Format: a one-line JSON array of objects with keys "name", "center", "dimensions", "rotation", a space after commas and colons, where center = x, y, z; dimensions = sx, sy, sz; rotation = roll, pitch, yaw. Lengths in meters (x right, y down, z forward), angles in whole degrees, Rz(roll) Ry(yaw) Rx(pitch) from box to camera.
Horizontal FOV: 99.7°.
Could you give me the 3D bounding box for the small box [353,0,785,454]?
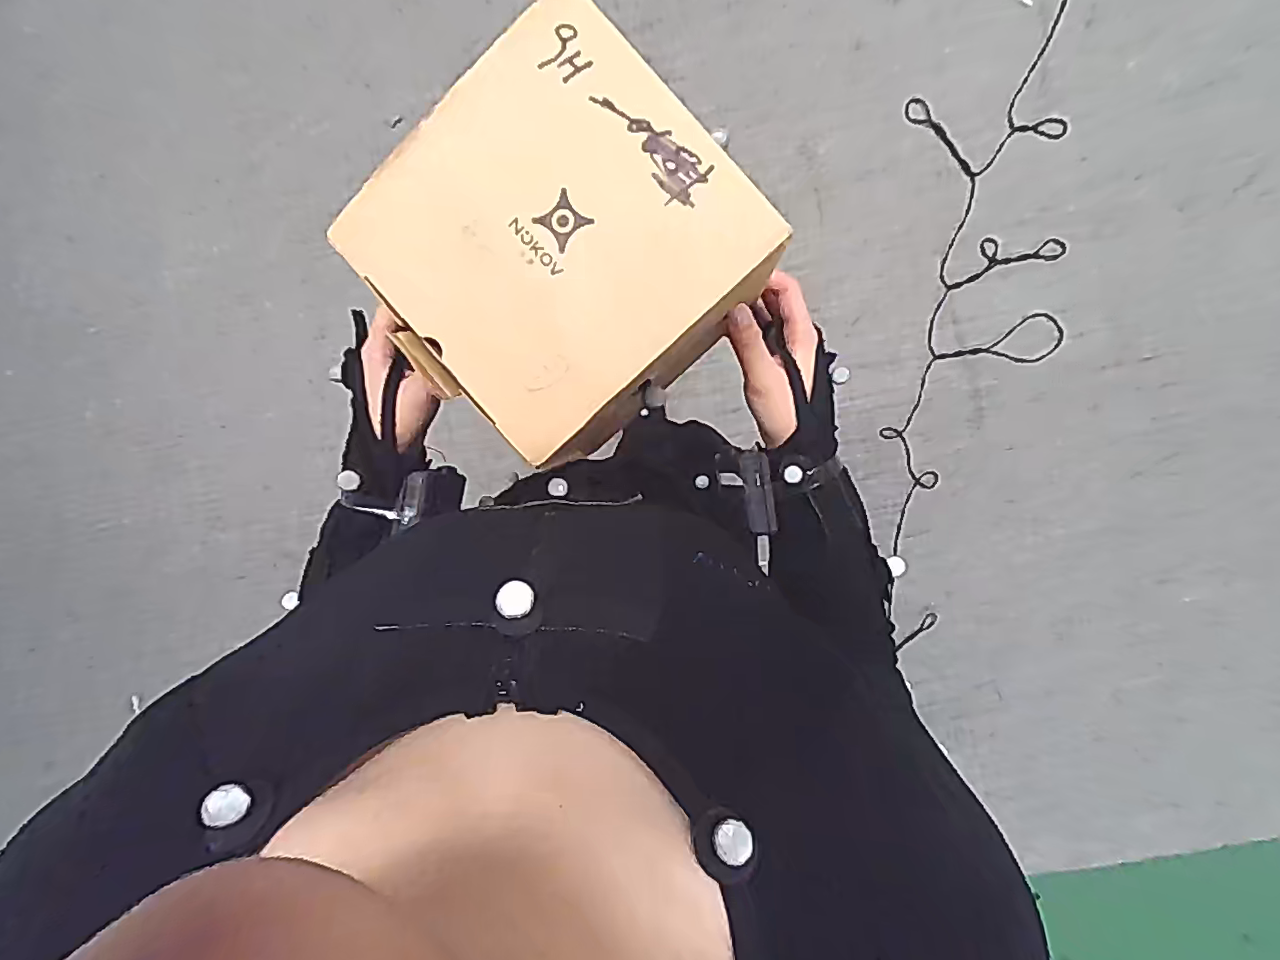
[{"name": "small box", "center": [-0.032, -0.135, 0.360], "dimensions": [0.179, 0.176, 0.168], "rotation": [-42, 91, 8]}]
